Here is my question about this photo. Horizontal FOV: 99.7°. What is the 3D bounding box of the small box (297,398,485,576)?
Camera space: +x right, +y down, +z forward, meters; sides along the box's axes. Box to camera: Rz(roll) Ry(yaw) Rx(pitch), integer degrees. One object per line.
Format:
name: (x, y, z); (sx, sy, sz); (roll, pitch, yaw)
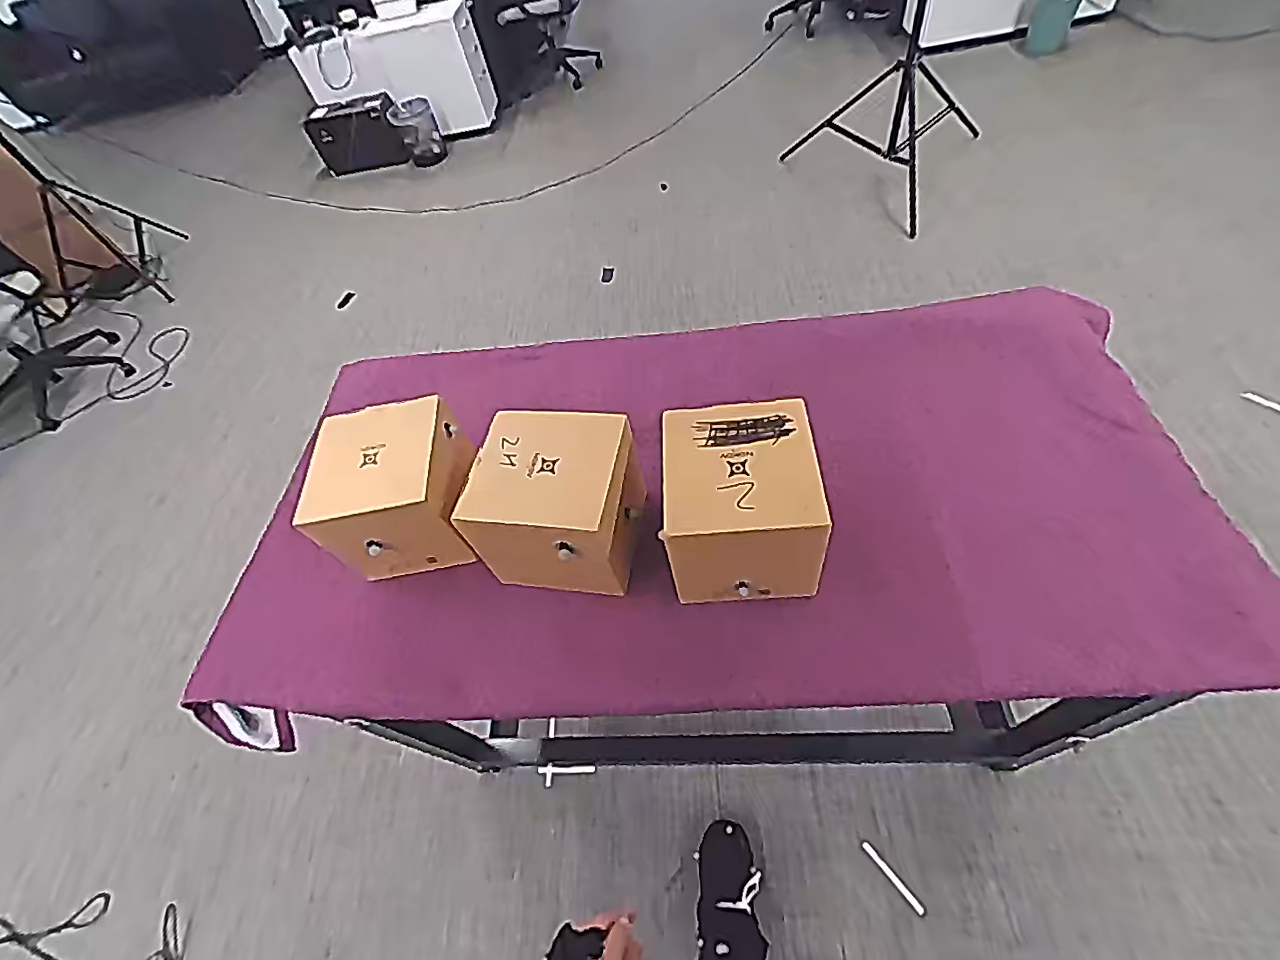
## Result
small box: (-0.326, 0.020, 0.749); (0.168, 0.176, 0.179); (-12, 54, 3)
